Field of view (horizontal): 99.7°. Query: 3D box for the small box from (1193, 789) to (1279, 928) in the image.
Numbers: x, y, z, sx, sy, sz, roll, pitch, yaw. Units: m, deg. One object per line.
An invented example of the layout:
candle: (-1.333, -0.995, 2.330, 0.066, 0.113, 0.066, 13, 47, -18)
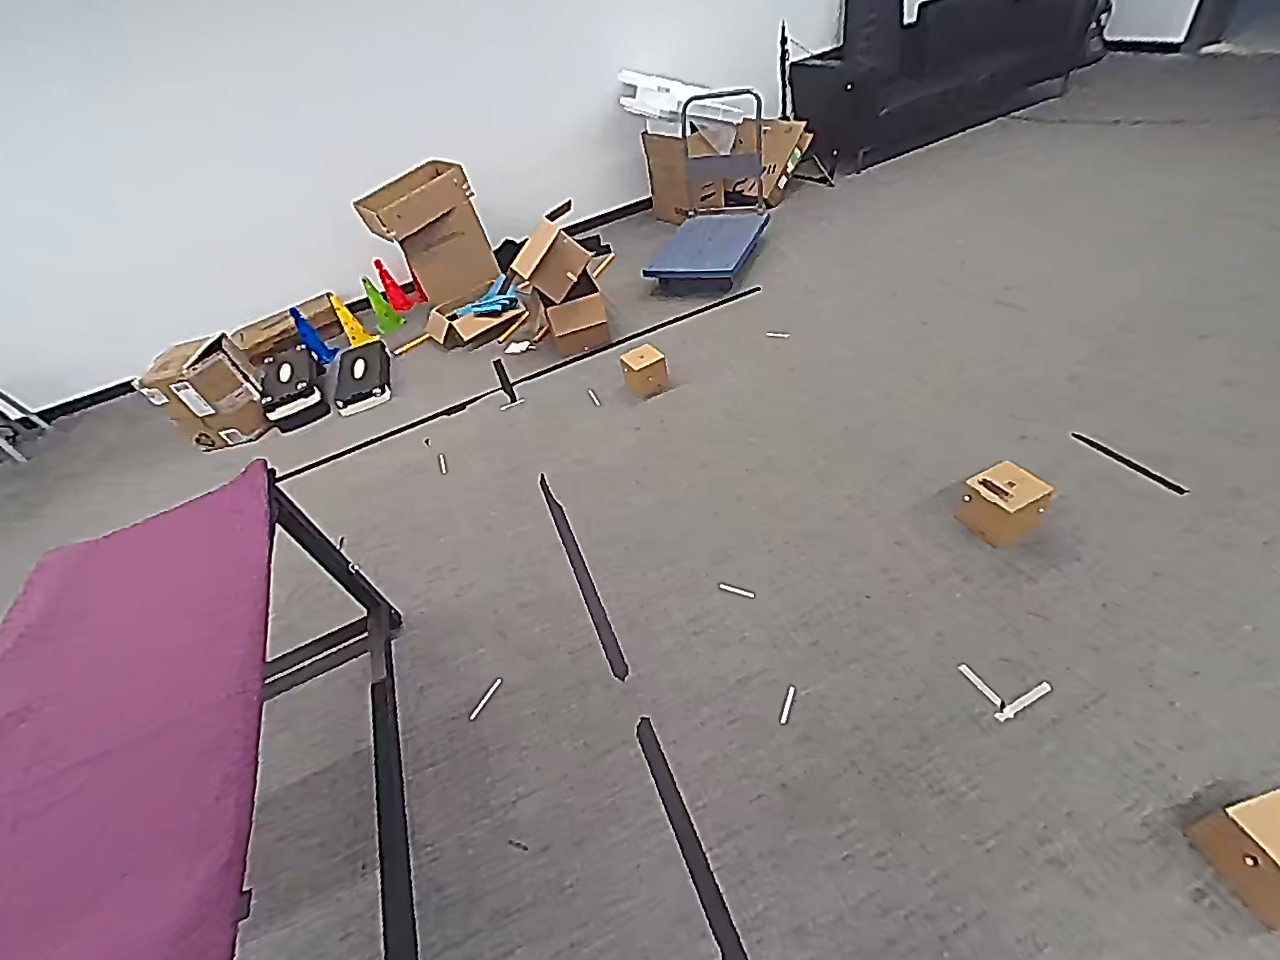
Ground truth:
small box: (1.234, 0.715, 1.025, 0.168, 0.176, 0.179, -18, 43, -2)

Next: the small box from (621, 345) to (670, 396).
small box: (0.031, -0.536, 2.676, 0.168, 0.176, 0.179, -29, 44, -14)
